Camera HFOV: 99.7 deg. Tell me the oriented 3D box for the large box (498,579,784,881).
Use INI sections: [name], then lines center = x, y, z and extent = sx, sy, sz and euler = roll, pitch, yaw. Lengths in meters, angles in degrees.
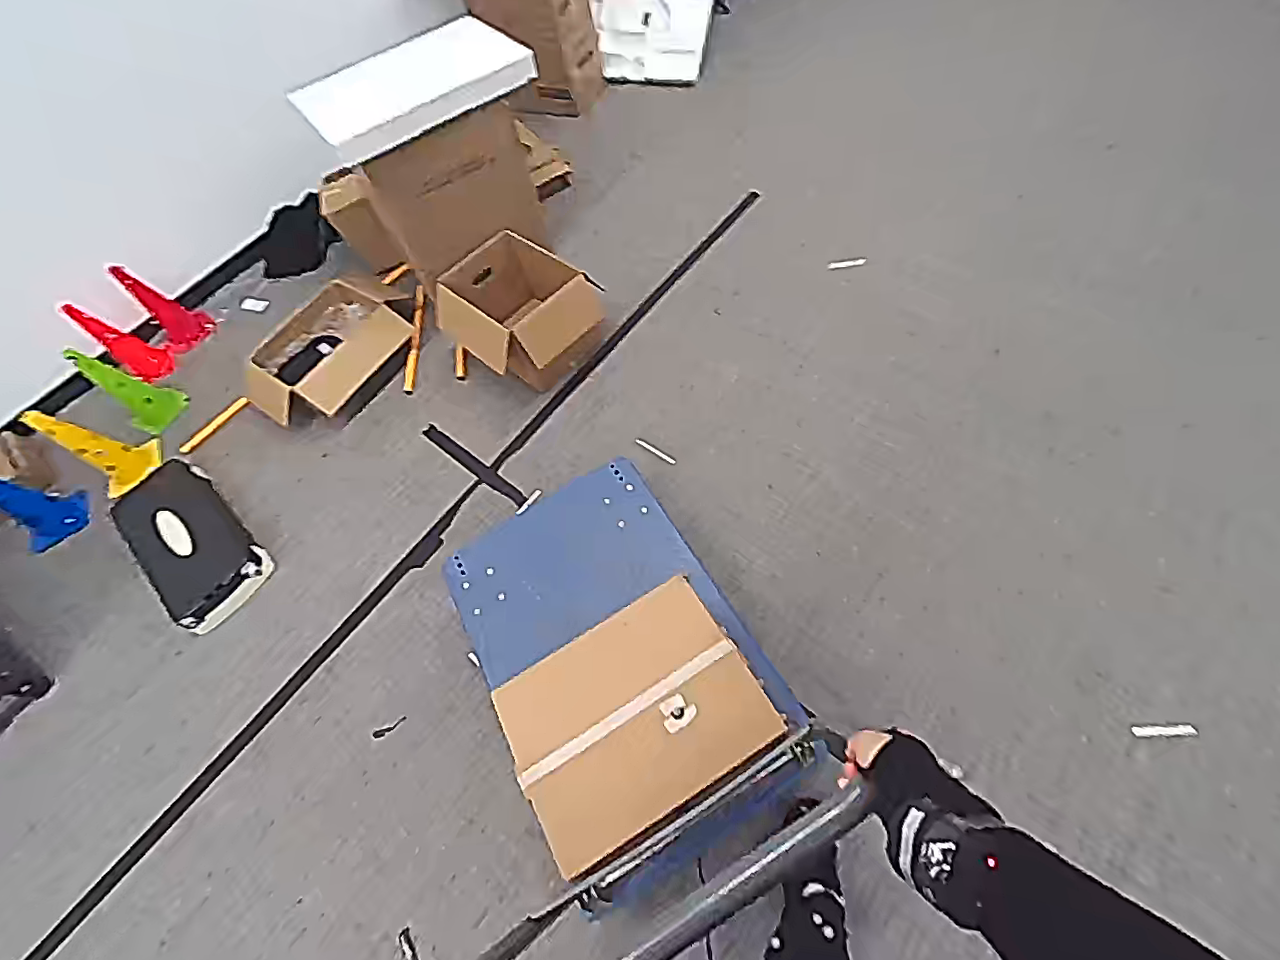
[large box]
center = 0.013, 0.466, 1.029
extent = 0.408, 0.320, 0.320
euler = -31, 60, -8
